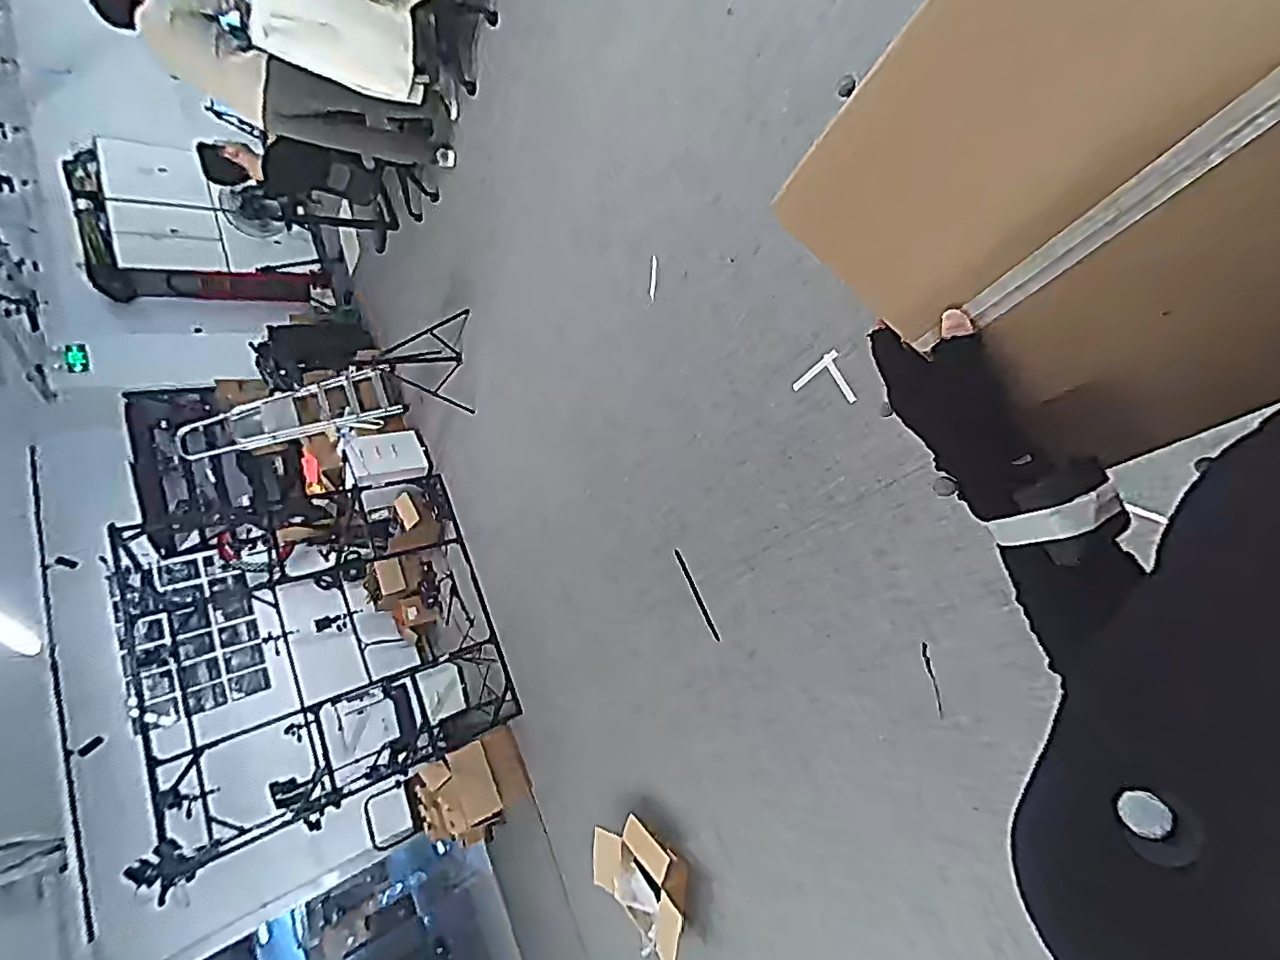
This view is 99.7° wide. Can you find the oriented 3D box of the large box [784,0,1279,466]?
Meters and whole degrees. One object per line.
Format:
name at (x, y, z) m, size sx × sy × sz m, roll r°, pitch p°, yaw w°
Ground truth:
large box at (0.374, -0.285, 0.351) m, size 0.320 × 0.320 × 0.408 m, roll 40°, pitch 143°, yaw -5°
